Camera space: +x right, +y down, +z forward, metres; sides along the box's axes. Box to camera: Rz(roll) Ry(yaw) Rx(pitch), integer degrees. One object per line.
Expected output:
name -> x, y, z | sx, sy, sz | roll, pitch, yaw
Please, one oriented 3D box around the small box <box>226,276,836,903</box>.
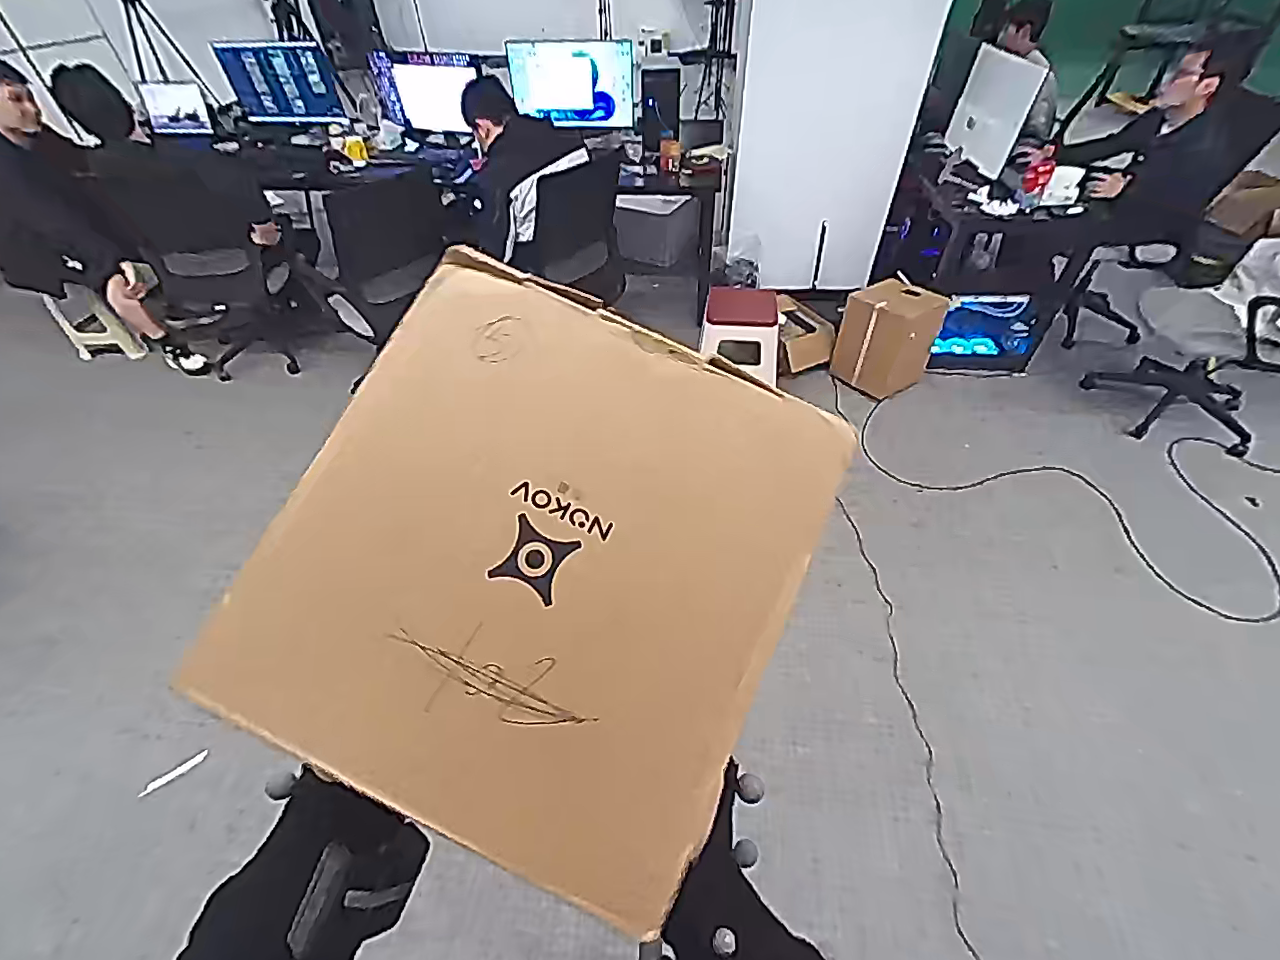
small box -> -0.034, 0.043, 0.270 | 0.168, 0.176, 0.179 | 23, 77, 3
